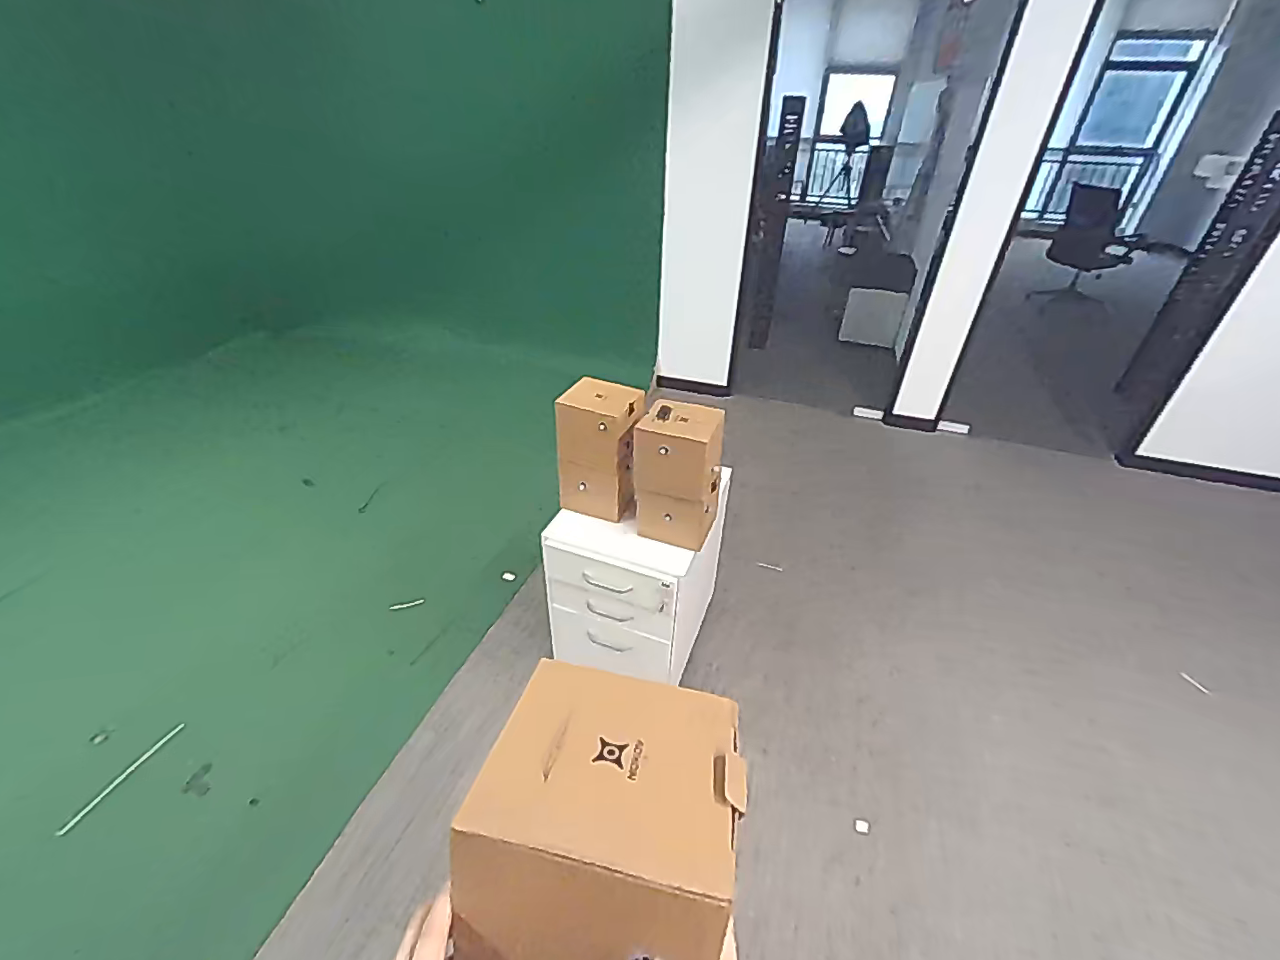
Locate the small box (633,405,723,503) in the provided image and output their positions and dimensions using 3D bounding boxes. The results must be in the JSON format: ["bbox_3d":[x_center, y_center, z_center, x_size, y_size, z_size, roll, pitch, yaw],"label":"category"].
[{"bbox_3d":[0.091,-0.063,1.321,0.179,0.176,0.168,13,36,17],"label":"small box"}]

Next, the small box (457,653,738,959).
[{"bbox_3d":[-0.024,0.271,0.426,0.179,0.176,0.168,9,19,8],"label":"small box"}]

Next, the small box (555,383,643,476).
[{"bbox_3d":[-0.108,-0.131,1.409,0.179,0.176,0.168,17,36,15],"label":"small box"}]

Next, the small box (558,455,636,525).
[{"bbox_3d":[-0.115,0.002,1.505,0.179,0.176,0.168,15,36,14],"label":"small box"}]
